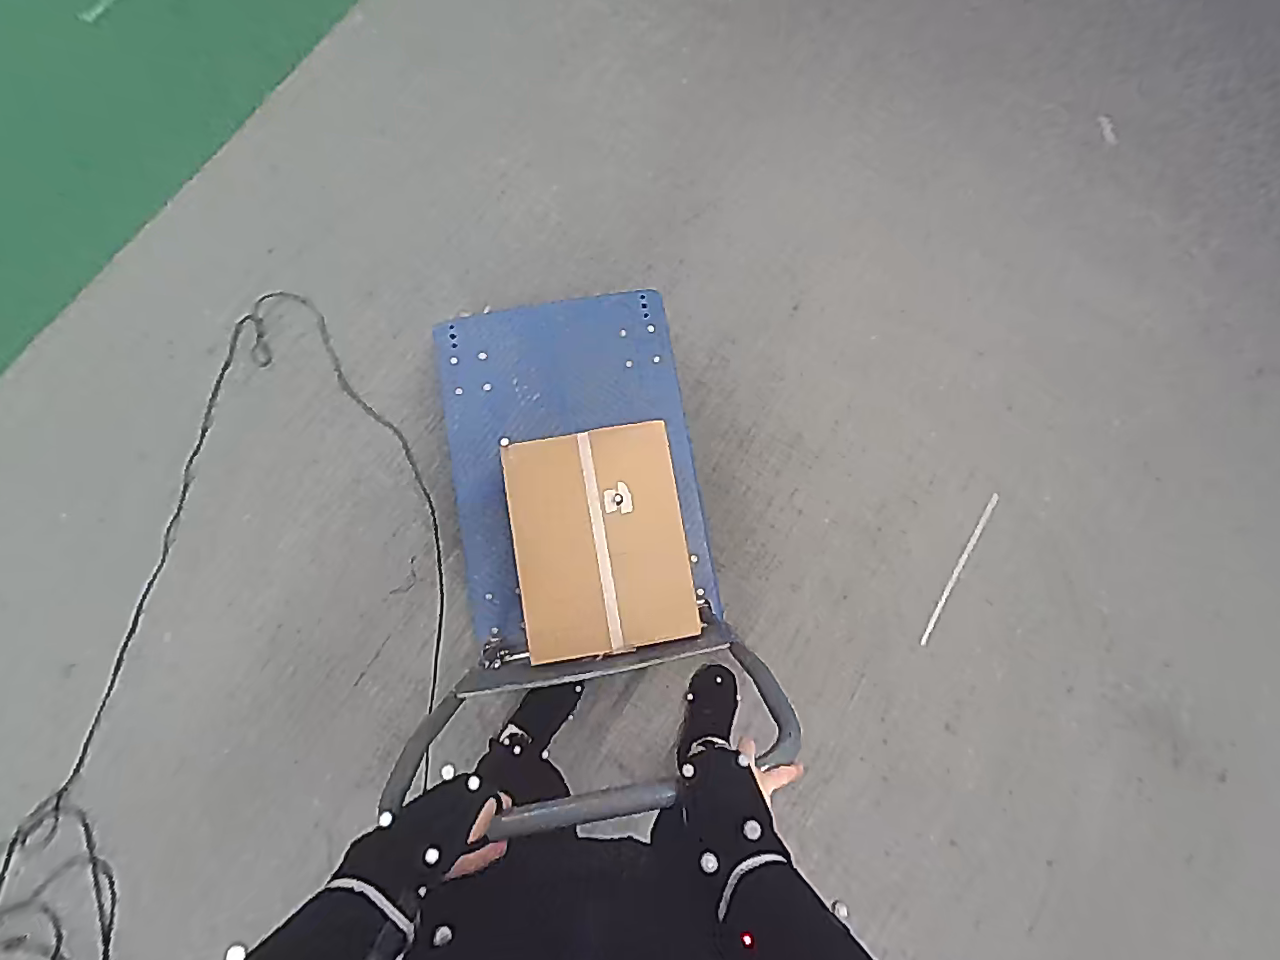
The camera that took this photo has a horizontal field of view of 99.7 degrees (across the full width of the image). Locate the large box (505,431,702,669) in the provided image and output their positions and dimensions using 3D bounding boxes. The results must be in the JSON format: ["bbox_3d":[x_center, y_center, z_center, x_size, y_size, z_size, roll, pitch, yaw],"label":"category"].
[{"bbox_3d":[-0.073,0.146,1.158,0.320,0.320,0.408,-10,82,-3],"label":"large box"}]
